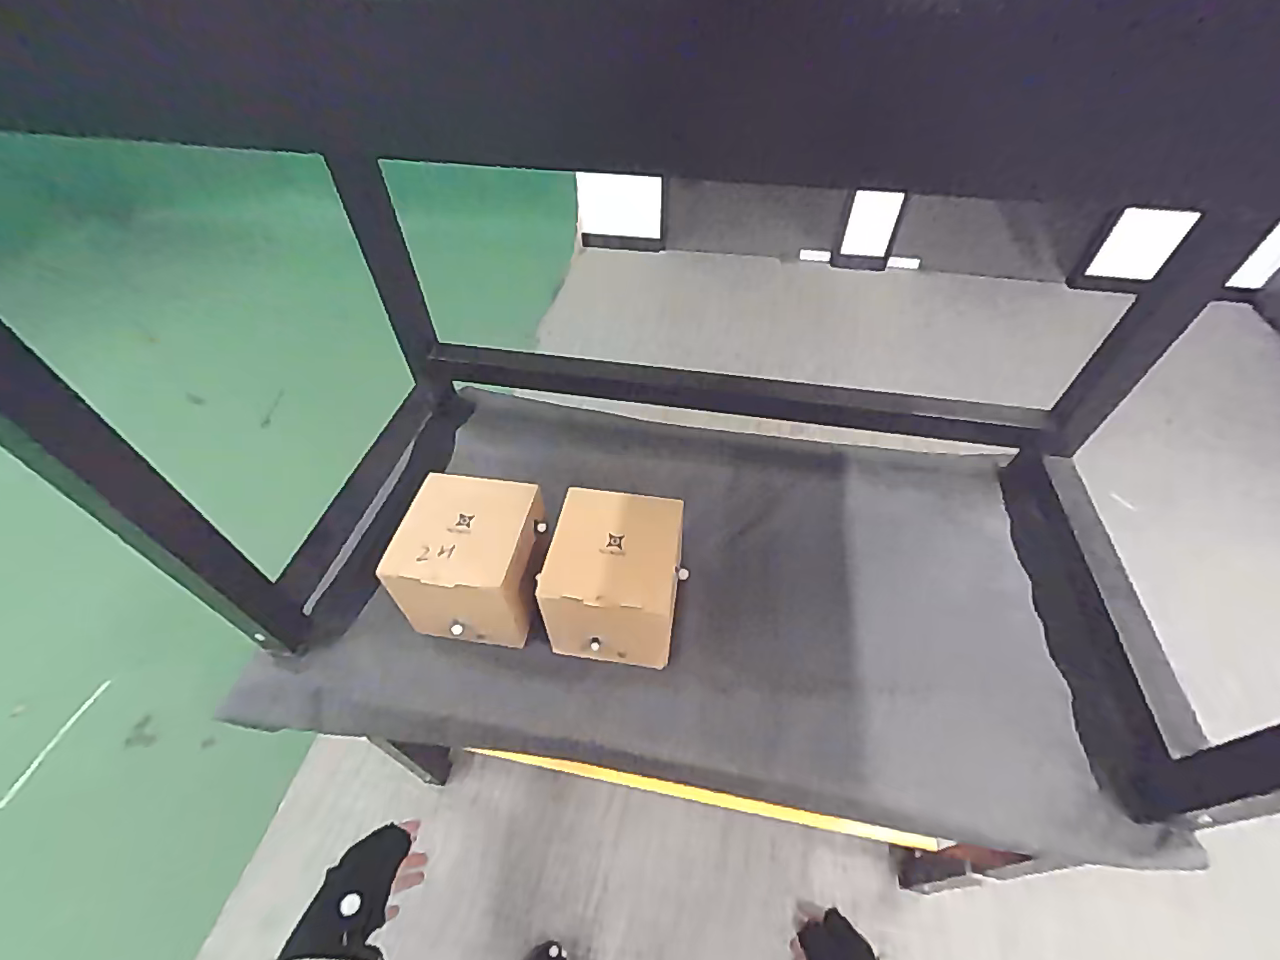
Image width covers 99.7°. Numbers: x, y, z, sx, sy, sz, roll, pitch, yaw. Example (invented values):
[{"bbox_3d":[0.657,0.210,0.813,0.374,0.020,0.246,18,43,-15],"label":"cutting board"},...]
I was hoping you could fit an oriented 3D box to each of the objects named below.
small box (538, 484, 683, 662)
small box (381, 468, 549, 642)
[{"bbox_3d":[-0.034,0.132,0.769,0.168,0.176,0.179,6,49,6],"label":"small box"},{"bbox_3d":[-0.236,0.109,0.786,0.168,0.176,0.179,6,49,6],"label":"small box"}]
